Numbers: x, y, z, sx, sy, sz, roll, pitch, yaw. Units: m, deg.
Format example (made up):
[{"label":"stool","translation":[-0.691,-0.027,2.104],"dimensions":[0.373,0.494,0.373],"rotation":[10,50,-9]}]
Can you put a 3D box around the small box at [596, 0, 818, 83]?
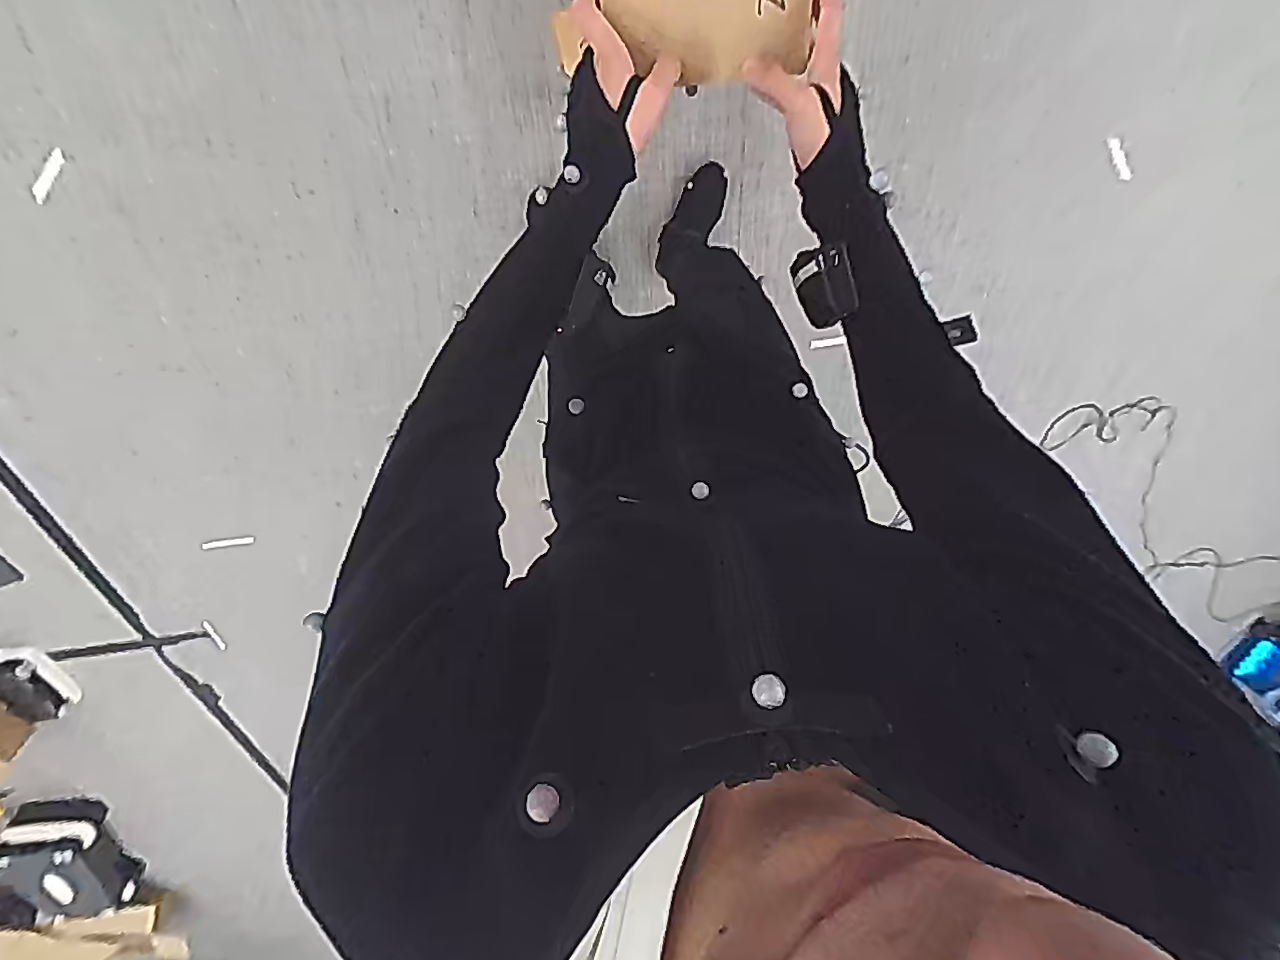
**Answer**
[{"label":"small box","translation":[0.051,-0.454,0.455],"dimensions":[0.179,0.176,0.168],"rotation":[-3,137,2]}]

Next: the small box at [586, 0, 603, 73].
[{"label":"small box","translation":[-0.007,-0.832,0.953],"dimensions":[0.168,0.176,0.179],"rotation":[-4,124,-7]}]

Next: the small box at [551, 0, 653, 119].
[{"label":"small box","translation":[-0.082,-0.867,1.115],"dimensions":[0.168,0.176,0.179],"rotation":[-16,125,1]}]

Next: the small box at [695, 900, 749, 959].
[{"label":"small box","translation":[0.310,1.761,2.083],"dimensions":[0.179,0.176,0.168],"rotation":[-10,126,-4]}]
